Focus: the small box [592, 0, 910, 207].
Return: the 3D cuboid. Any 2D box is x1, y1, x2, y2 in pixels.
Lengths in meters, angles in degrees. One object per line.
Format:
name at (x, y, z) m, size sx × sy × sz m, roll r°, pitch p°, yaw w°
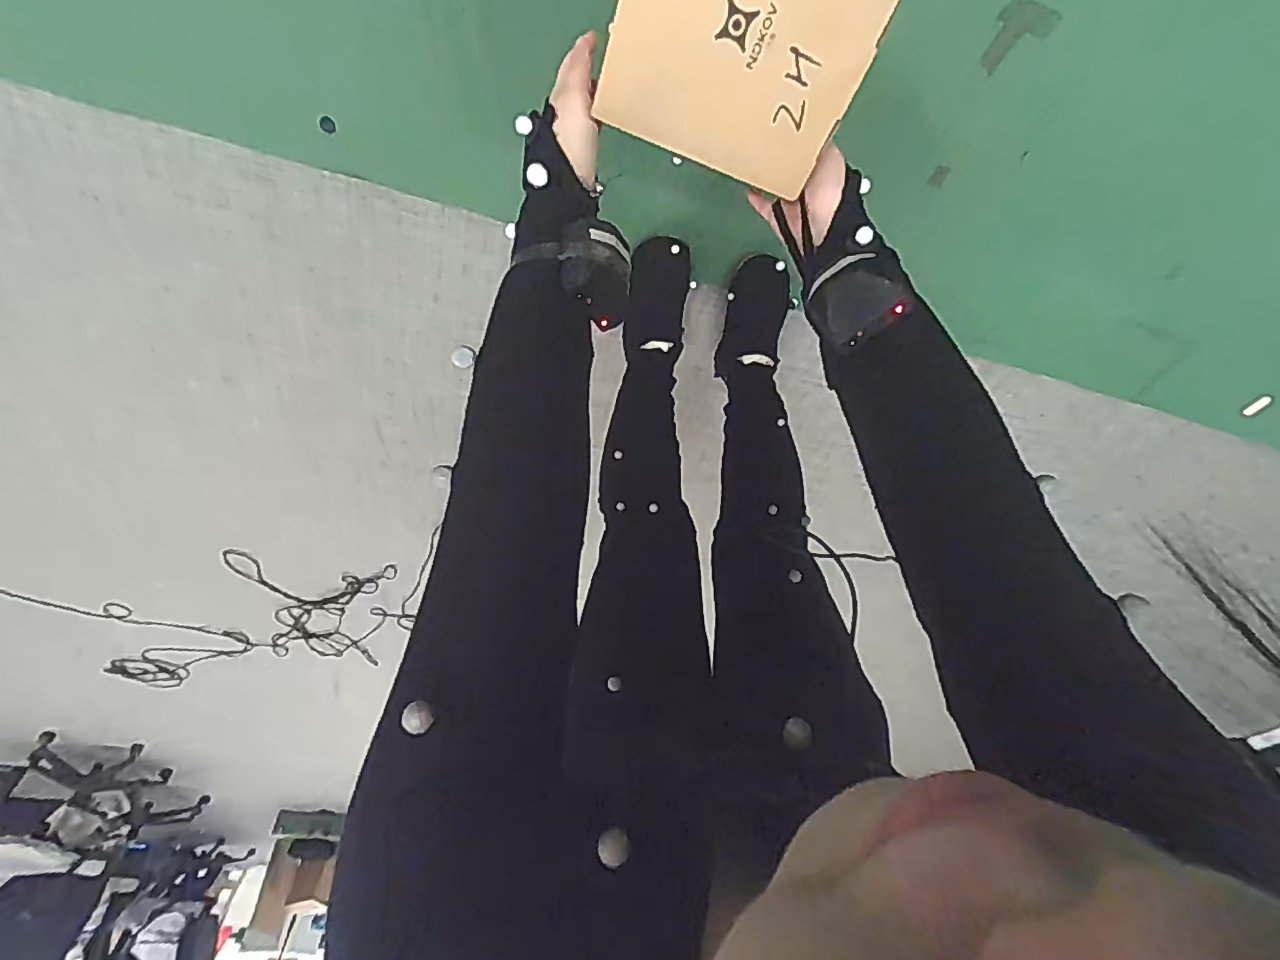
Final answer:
small box at (0.075, -0.349, 0.417) m, size 0.179 × 0.176 × 0.168 m, roll 15°, pitch 134°, yaw -13°
